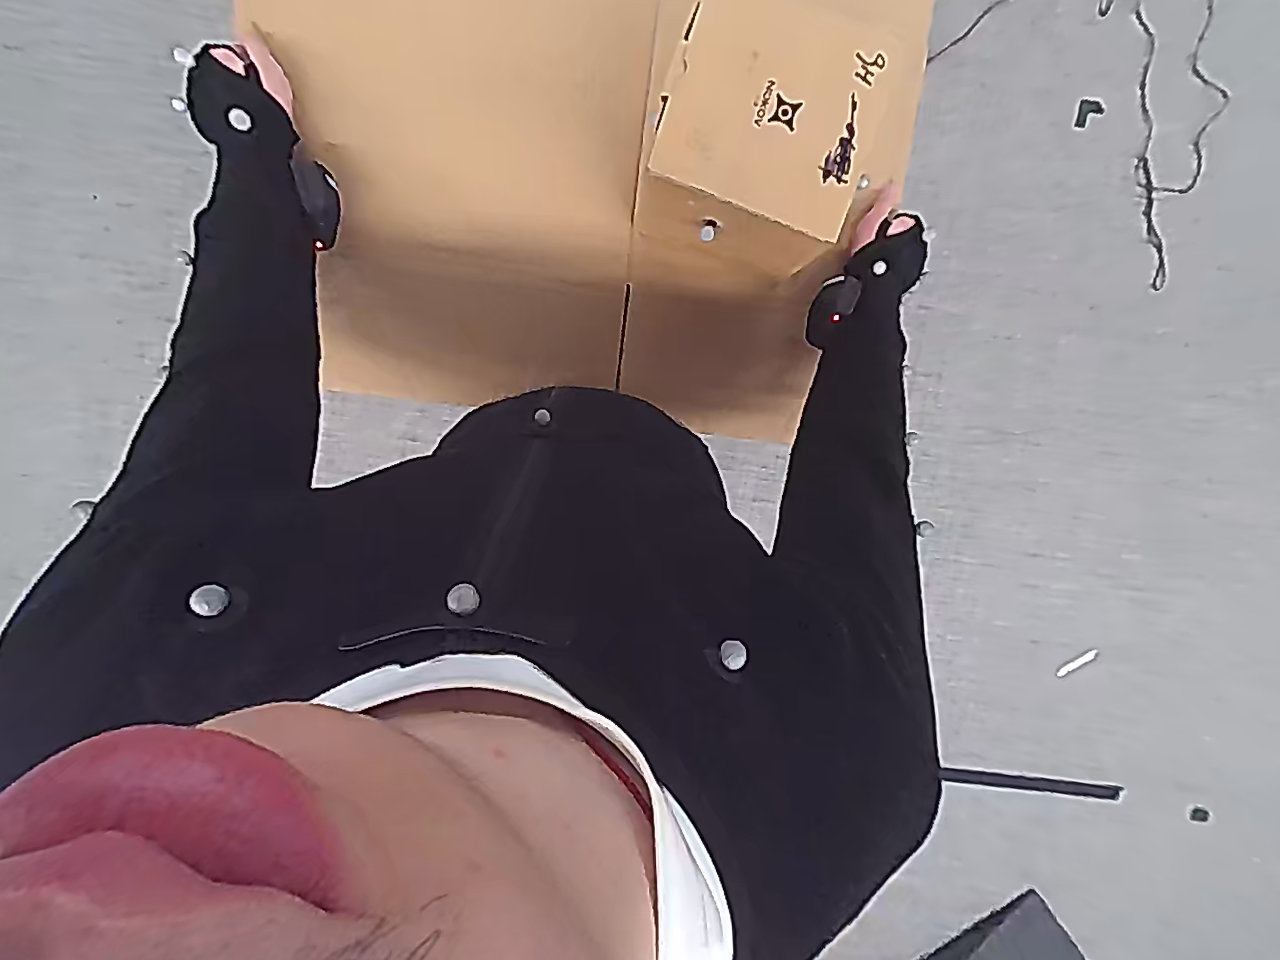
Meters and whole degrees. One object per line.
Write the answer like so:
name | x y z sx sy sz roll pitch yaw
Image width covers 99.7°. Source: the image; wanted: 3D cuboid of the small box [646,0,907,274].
small box | 0.111 -0.321 0.528 0.179 0.176 0.168 19 98 -4
